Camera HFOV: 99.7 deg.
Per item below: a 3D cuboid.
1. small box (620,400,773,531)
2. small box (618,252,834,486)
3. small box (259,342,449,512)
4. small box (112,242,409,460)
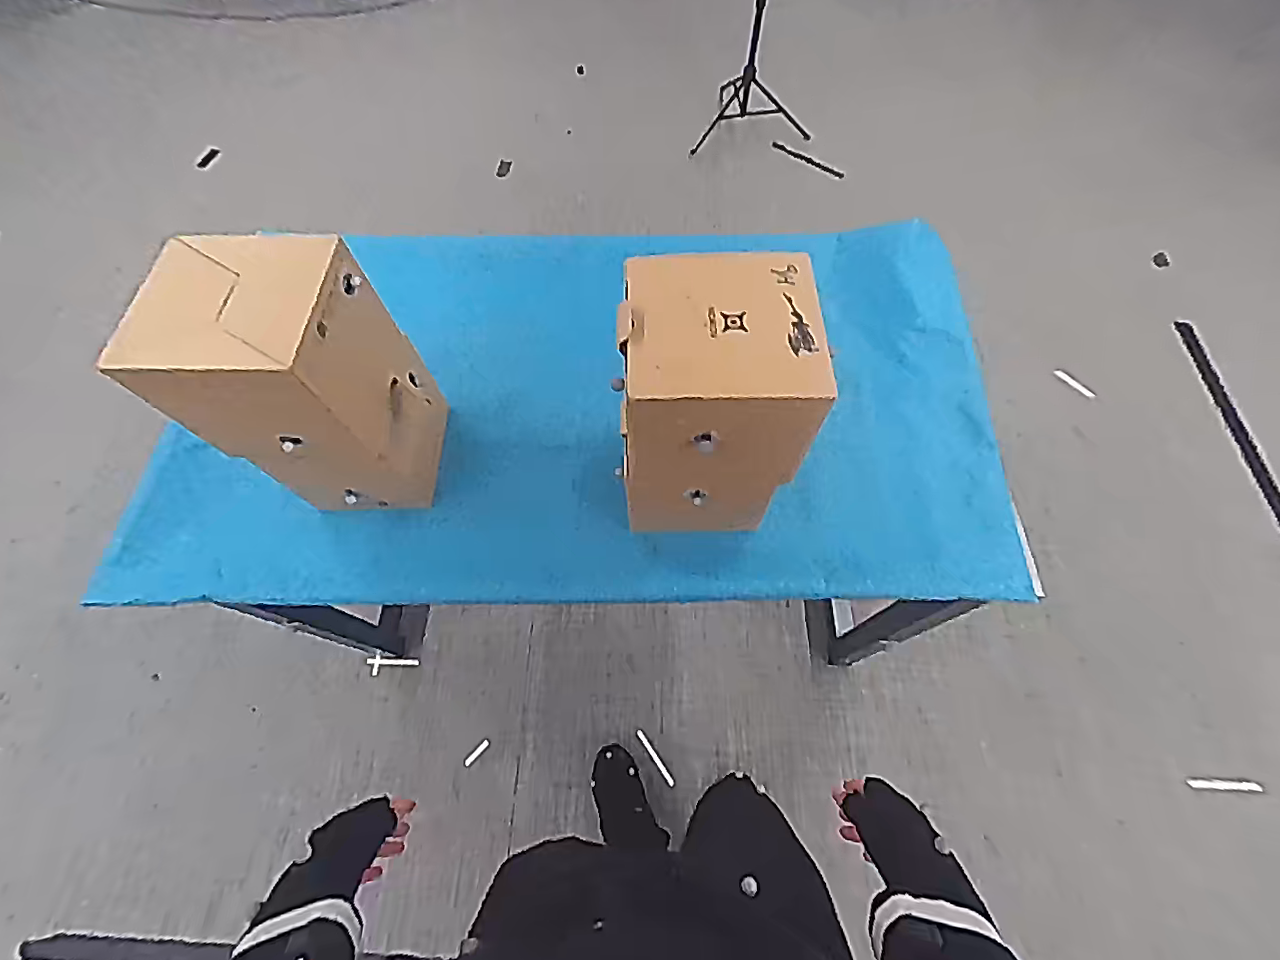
[{"bbox_3d":[0.070,-0.037,0.697,0.179,0.176,0.168,0,65,2],"label":"small box"},{"bbox_3d":[0.072,-0.102,0.547,0.179,0.176,0.168,-3,64,0],"label":"small box"},{"bbox_3d":[-0.377,-0.070,0.731,0.168,0.176,0.179,2,66,4],"label":"small box"},{"bbox_3d":[-0.380,-0.131,0.575,0.179,0.176,0.168,1,64,2],"label":"small box"}]
